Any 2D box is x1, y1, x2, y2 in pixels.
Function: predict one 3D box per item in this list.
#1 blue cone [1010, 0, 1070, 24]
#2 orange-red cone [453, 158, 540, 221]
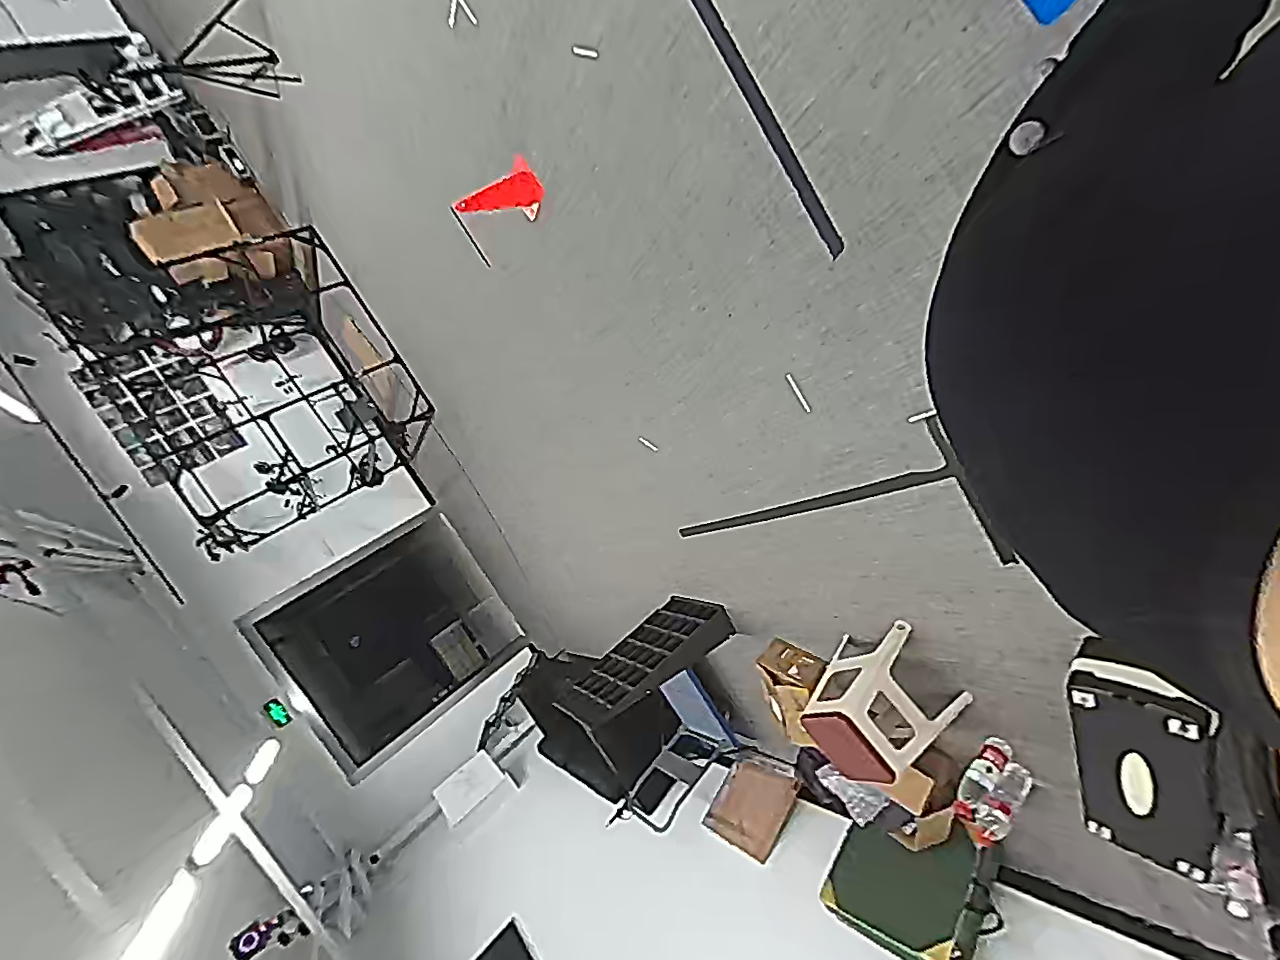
[{"bbox_3d":[0.615,-0.863,0.862,0.193,0.380,0.192,55,151,-1],"label":"blue cone"},{"bbox_3d":[-0.639,-1.203,2.327,0.199,0.360,0.198,54,151,-2],"label":"orange-red cone"}]
